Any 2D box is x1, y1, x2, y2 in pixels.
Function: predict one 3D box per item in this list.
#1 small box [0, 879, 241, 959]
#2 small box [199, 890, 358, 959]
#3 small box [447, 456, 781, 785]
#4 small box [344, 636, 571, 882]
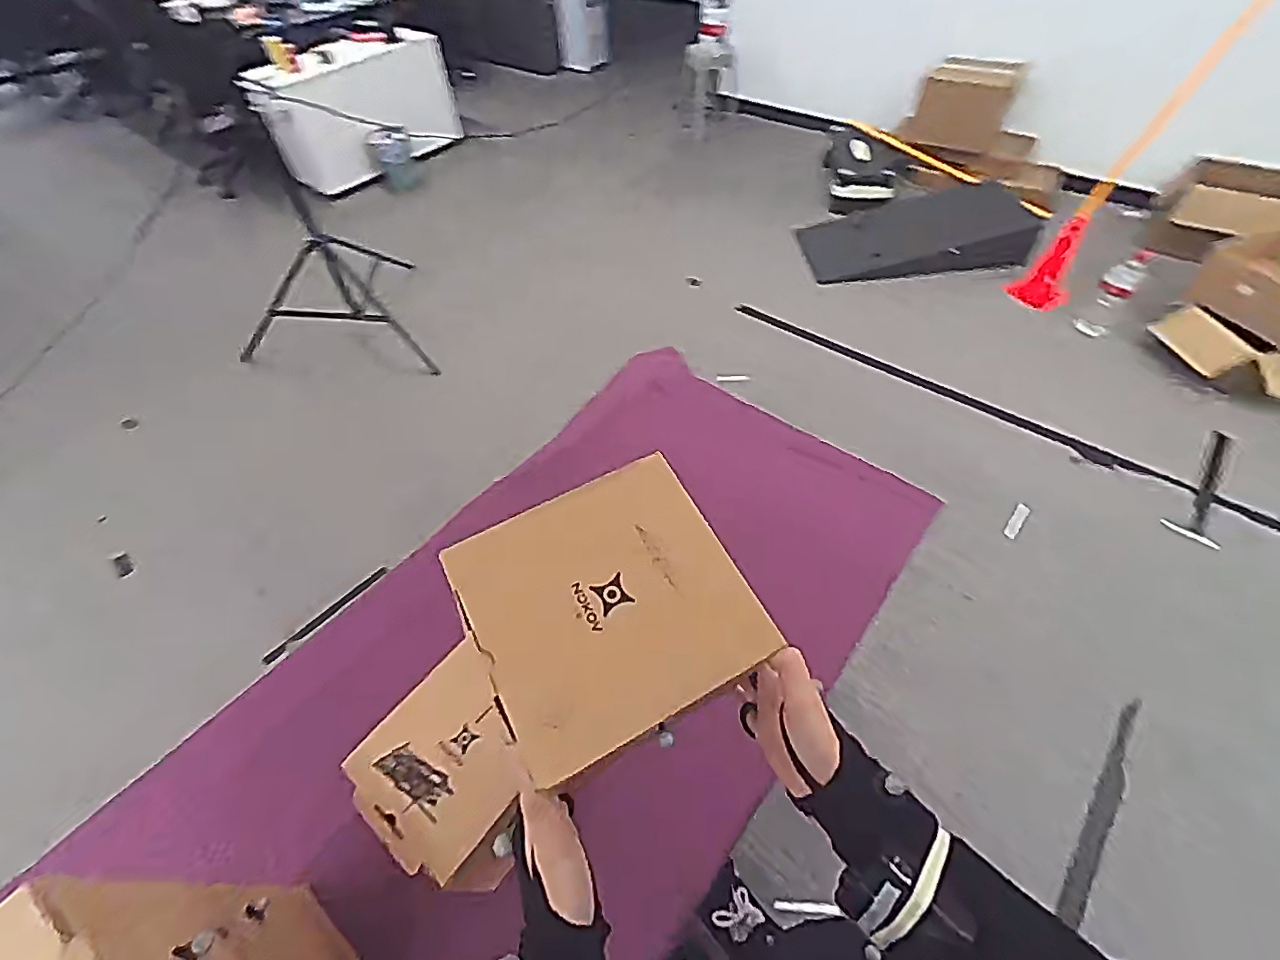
[{"bbox_3d":[-0.386,0.411,0.359,0.168,0.176,0.179,27,58,23],"label":"small box"},{"bbox_3d":[-0.369,0.511,0.488,0.179,0.176,0.168,28,59,23],"label":"small box"},{"bbox_3d":[-0.023,0.116,0.427,0.179,0.176,0.168,-24,65,-15],"label":"small box"},{"bbox_3d":[-0.185,0.322,0.621,0.168,0.176,0.179,30,59,24],"label":"small box"}]
